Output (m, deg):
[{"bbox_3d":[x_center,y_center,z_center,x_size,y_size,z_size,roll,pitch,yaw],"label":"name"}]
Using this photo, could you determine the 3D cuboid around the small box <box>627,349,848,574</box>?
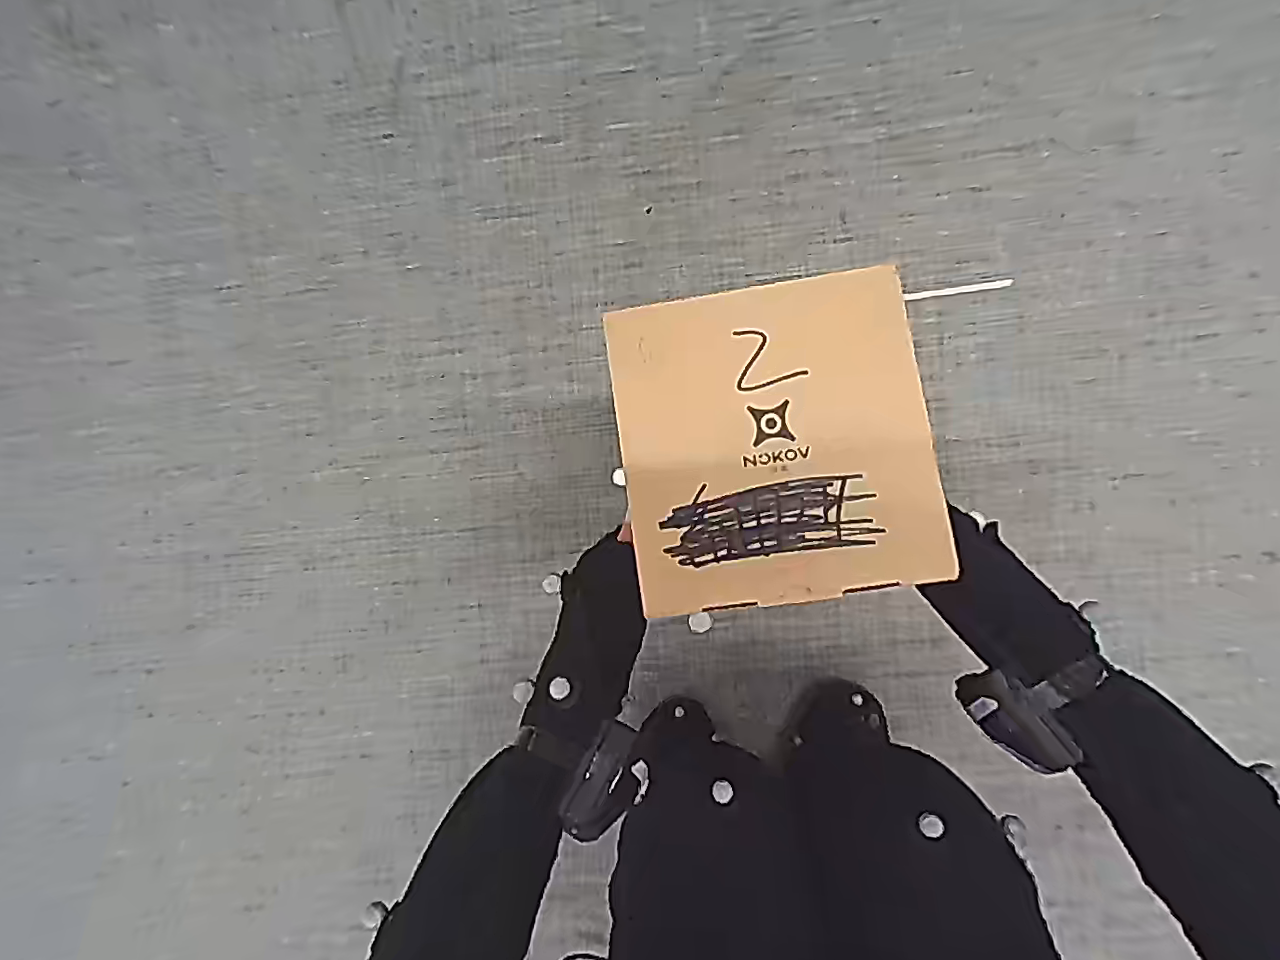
[{"bbox_3d":[0.087,-0.008,0.543,0.168,0.176,0.179,-11,83,5],"label":"small box"}]
